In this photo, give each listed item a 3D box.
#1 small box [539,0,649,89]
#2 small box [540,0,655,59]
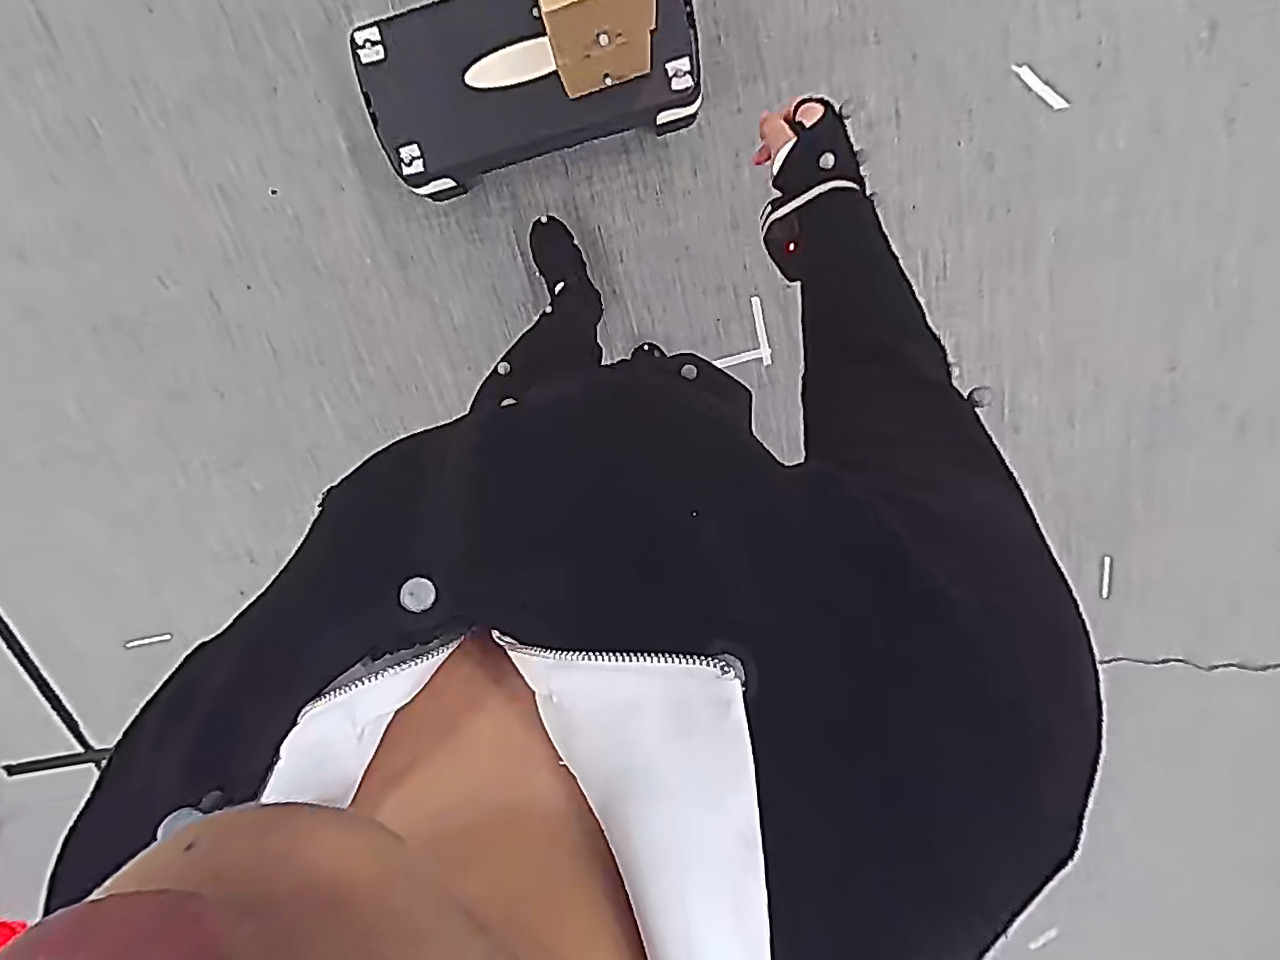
[{"bbox_3d":[-0.085,-0.823,0.954,0.168,0.176,0.179,-14,109,6],"label":"small box"},{"bbox_3d":[-0.078,-0.775,0.797,0.168,0.176,0.179,-15,109,6],"label":"small box"}]
